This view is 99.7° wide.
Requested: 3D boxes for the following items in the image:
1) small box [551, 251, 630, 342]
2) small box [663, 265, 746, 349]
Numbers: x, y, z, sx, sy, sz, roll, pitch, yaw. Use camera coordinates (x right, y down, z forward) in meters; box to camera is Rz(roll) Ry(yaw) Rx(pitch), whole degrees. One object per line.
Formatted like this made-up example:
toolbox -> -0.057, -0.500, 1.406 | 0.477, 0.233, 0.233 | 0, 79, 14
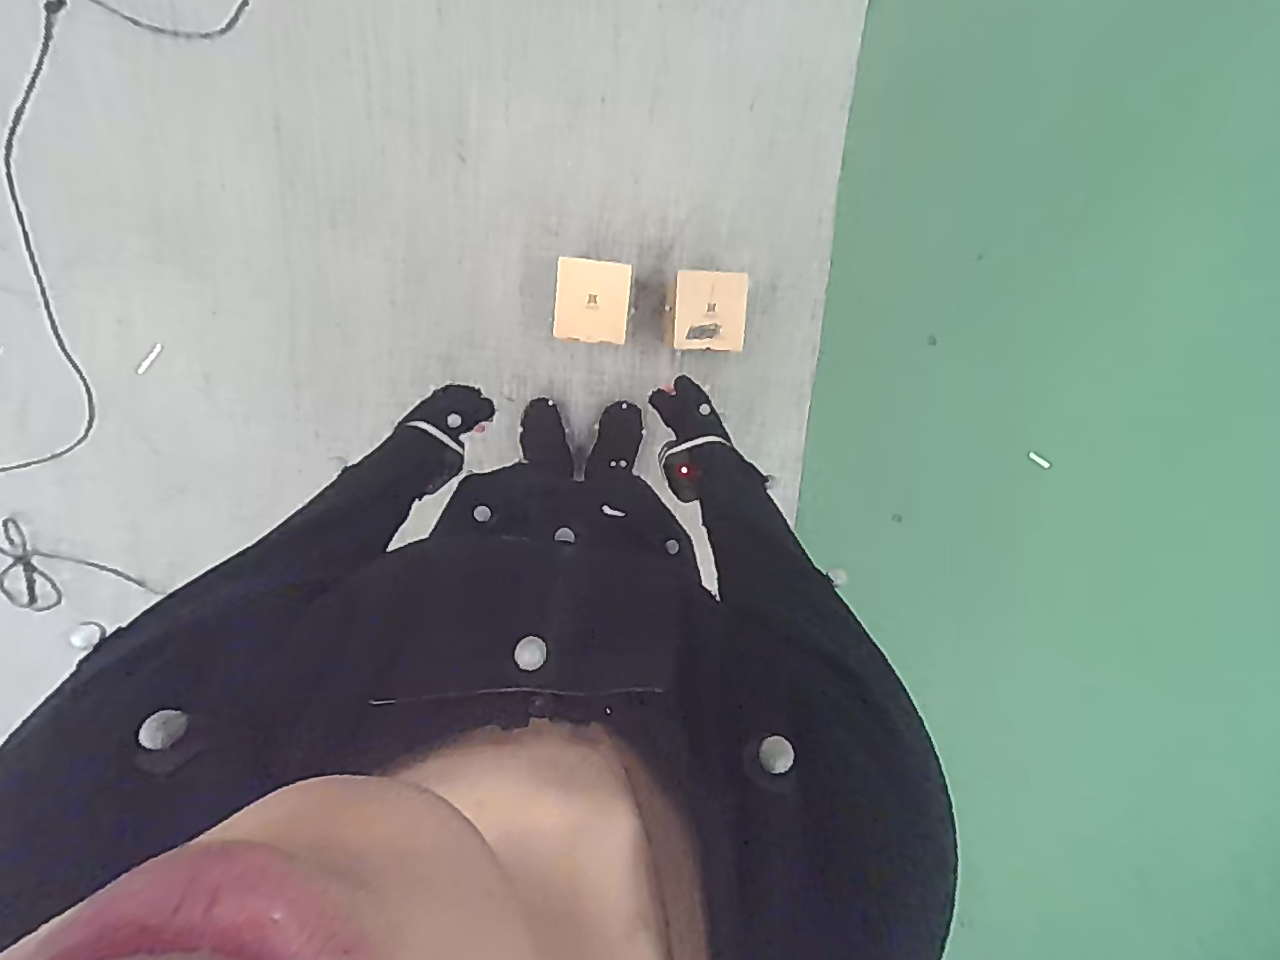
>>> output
small box -> -0.119, -0.427, 1.283 | 0.168, 0.176, 0.179 | 5, 103, -6
small box -> 0.149, -0.410, 1.307 | 0.168, 0.176, 0.179 | 2, 103, -5
